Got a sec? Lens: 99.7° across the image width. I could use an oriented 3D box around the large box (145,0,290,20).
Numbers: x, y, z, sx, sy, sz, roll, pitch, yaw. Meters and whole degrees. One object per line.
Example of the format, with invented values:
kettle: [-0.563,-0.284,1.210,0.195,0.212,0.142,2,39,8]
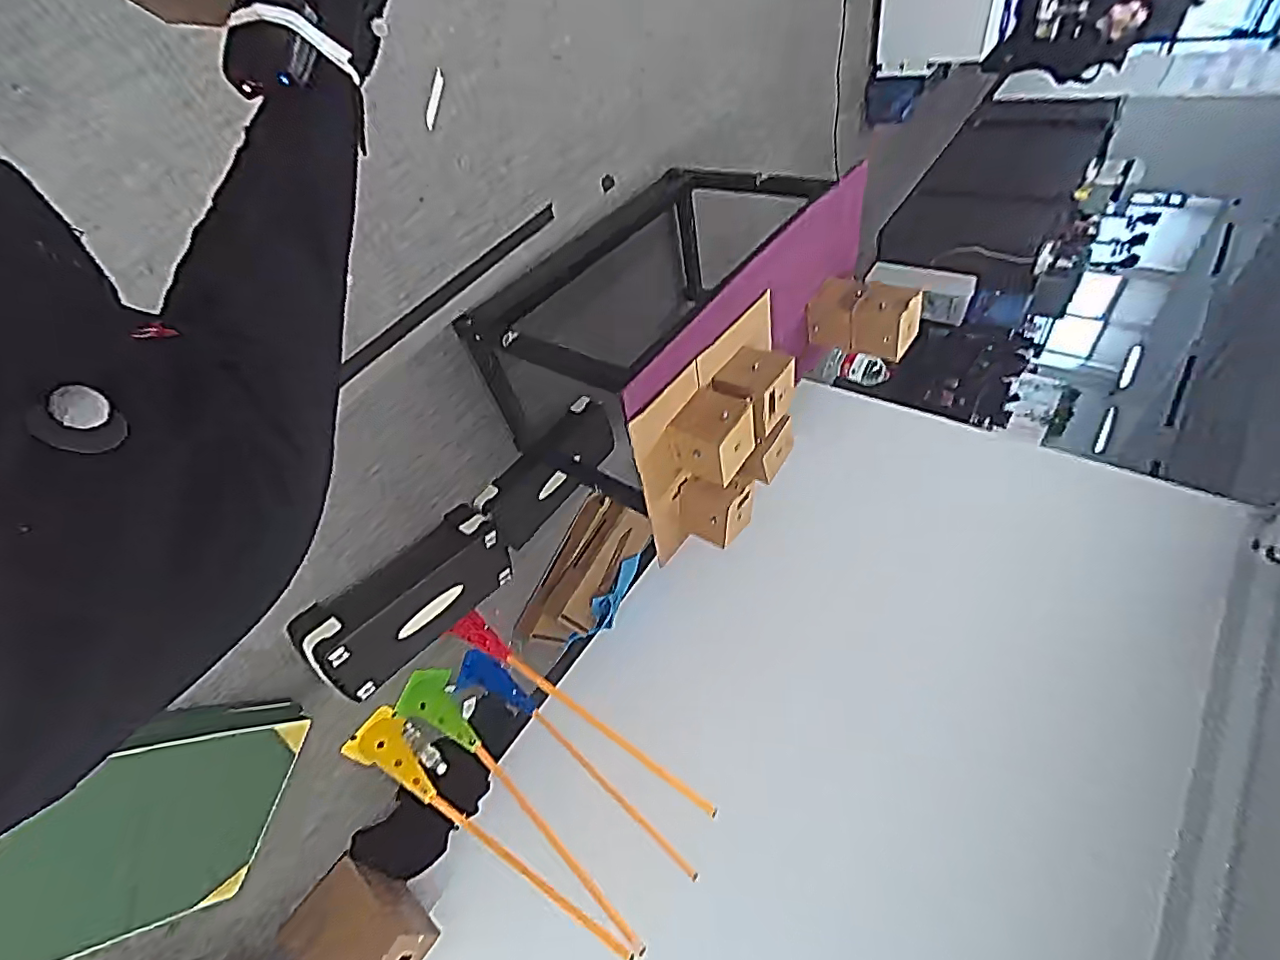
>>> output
large box: [-0.441,-0.588,0.317,0.408,0.320,0.320,11,109,-59]
